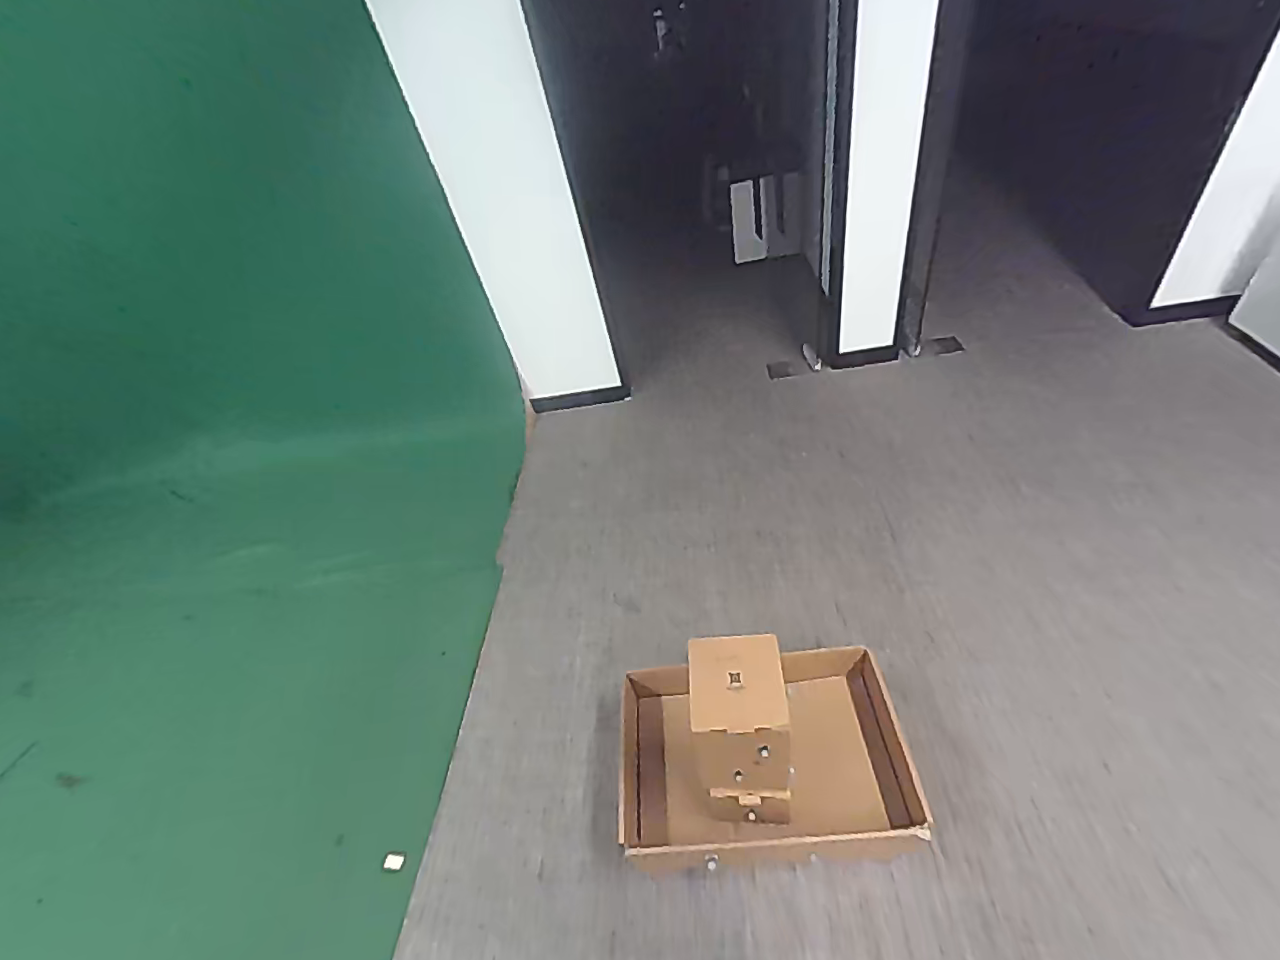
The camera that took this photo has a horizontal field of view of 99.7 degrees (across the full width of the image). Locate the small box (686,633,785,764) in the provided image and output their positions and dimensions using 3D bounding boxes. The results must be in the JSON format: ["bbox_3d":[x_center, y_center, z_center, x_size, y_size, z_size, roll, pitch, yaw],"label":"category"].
[{"bbox_3d":[0.176,0.407,1.000,0.168,0.176,0.179,-5,41,8],"label":"small box"}]

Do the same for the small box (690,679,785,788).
[{"bbox_3d":[0.206,0.517,1.115,0.179,0.176,0.168,-3,43,14],"label":"small box"}]

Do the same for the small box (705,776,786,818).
[{"bbox_3d":[0.239,0.642,1.218,0.168,0.176,0.179,-4,44,11],"label":"small box"}]
